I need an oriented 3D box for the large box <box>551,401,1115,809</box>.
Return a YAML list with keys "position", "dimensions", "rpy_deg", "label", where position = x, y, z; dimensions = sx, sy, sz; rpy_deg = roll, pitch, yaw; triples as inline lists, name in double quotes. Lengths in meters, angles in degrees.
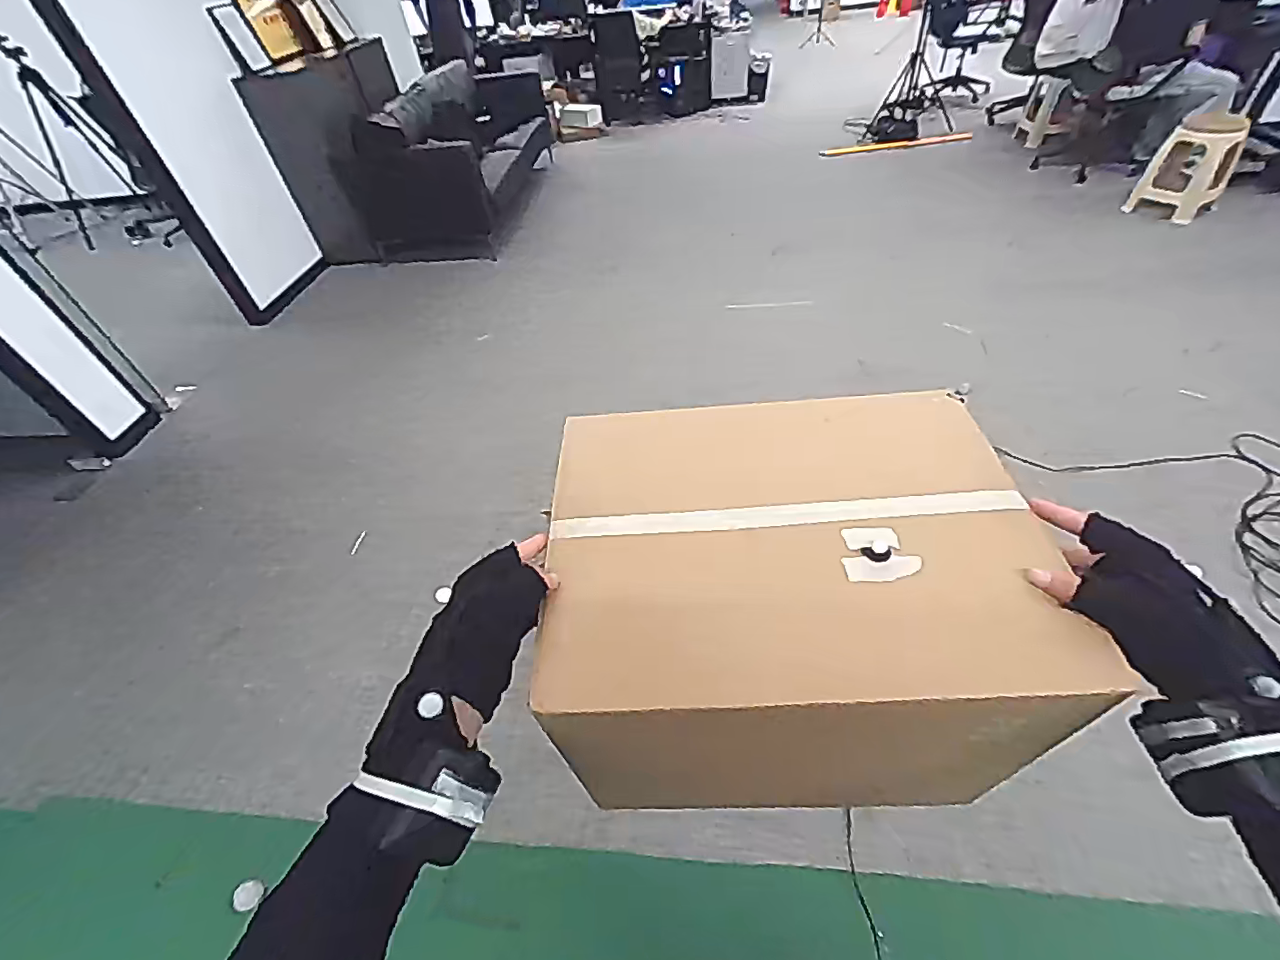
- position: [0.139, 0.142, 0.588]
  dimensions: [0.408, 0.320, 0.320]
  rpy_deg: [-3, 48, 3]
  label: "large box"
